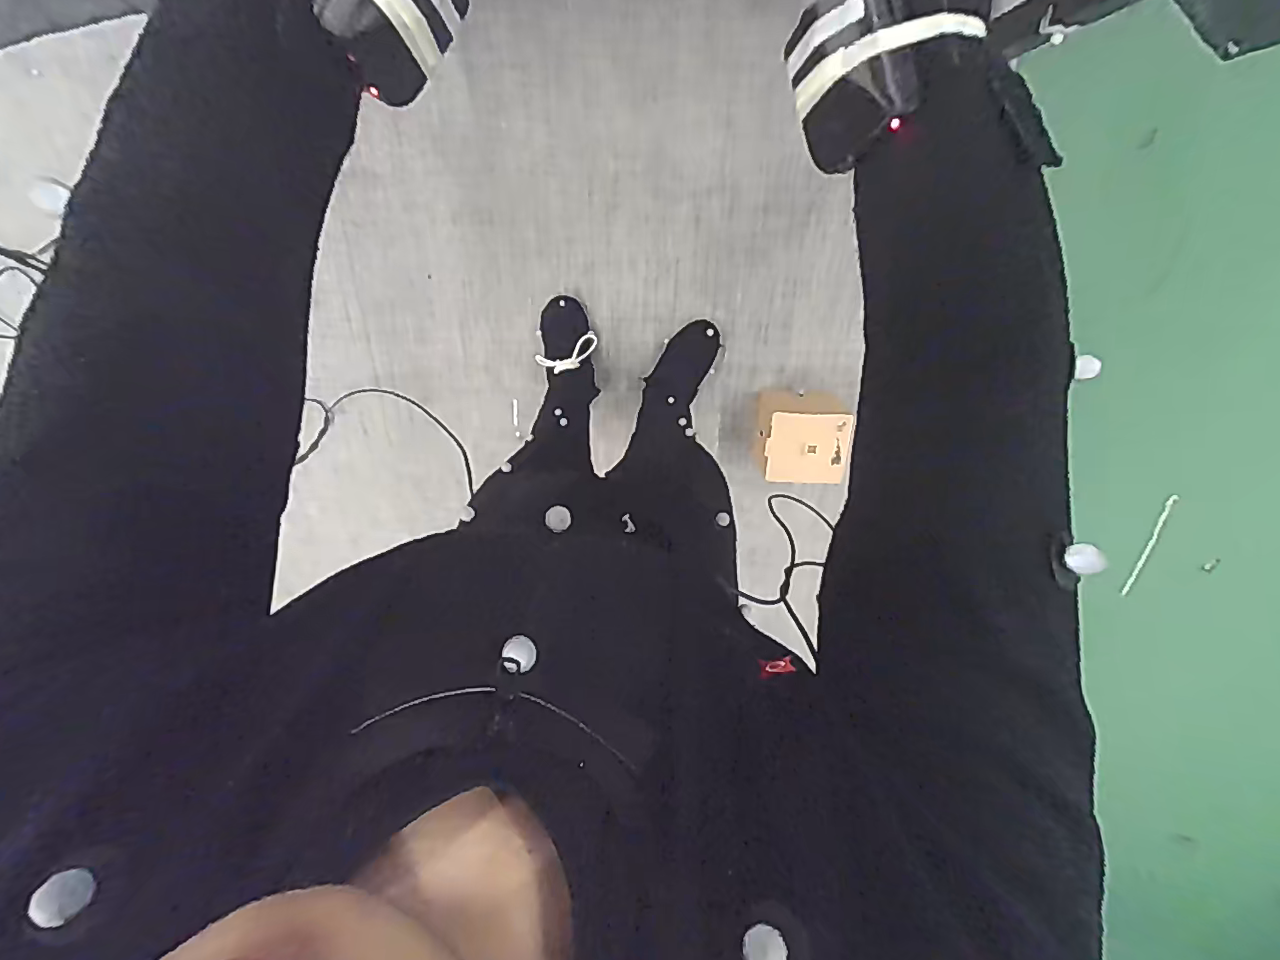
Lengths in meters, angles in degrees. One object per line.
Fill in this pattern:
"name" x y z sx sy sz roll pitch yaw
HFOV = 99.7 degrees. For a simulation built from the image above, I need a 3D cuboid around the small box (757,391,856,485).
"small box" 0.371 -0.101 1.240 0.179 0.176 0.168 2 116 3
